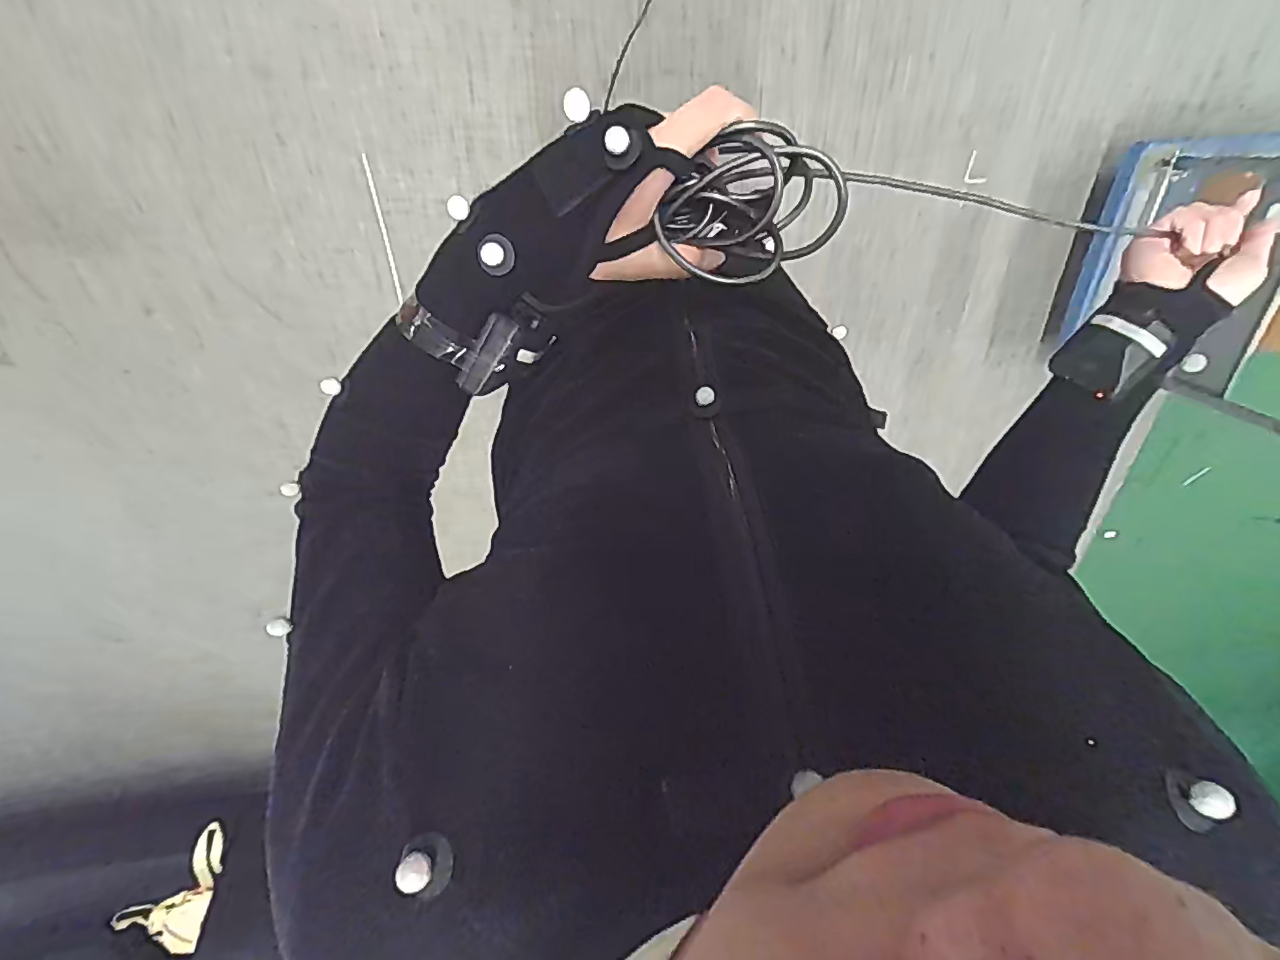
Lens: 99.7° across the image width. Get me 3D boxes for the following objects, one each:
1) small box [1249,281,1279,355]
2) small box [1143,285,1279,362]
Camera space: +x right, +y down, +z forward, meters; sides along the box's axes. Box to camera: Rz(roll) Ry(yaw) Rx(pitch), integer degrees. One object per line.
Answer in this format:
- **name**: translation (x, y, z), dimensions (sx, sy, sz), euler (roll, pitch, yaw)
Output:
- **small box**: translation (1.820, -0.456, 1.498), dimensions (0.179, 0.176, 0.168), euler (-8, 120, -3)
- **small box**: translation (1.552, -0.430, 1.471), dimensions (0.179, 0.176, 0.168), euler (-4, 120, -6)
